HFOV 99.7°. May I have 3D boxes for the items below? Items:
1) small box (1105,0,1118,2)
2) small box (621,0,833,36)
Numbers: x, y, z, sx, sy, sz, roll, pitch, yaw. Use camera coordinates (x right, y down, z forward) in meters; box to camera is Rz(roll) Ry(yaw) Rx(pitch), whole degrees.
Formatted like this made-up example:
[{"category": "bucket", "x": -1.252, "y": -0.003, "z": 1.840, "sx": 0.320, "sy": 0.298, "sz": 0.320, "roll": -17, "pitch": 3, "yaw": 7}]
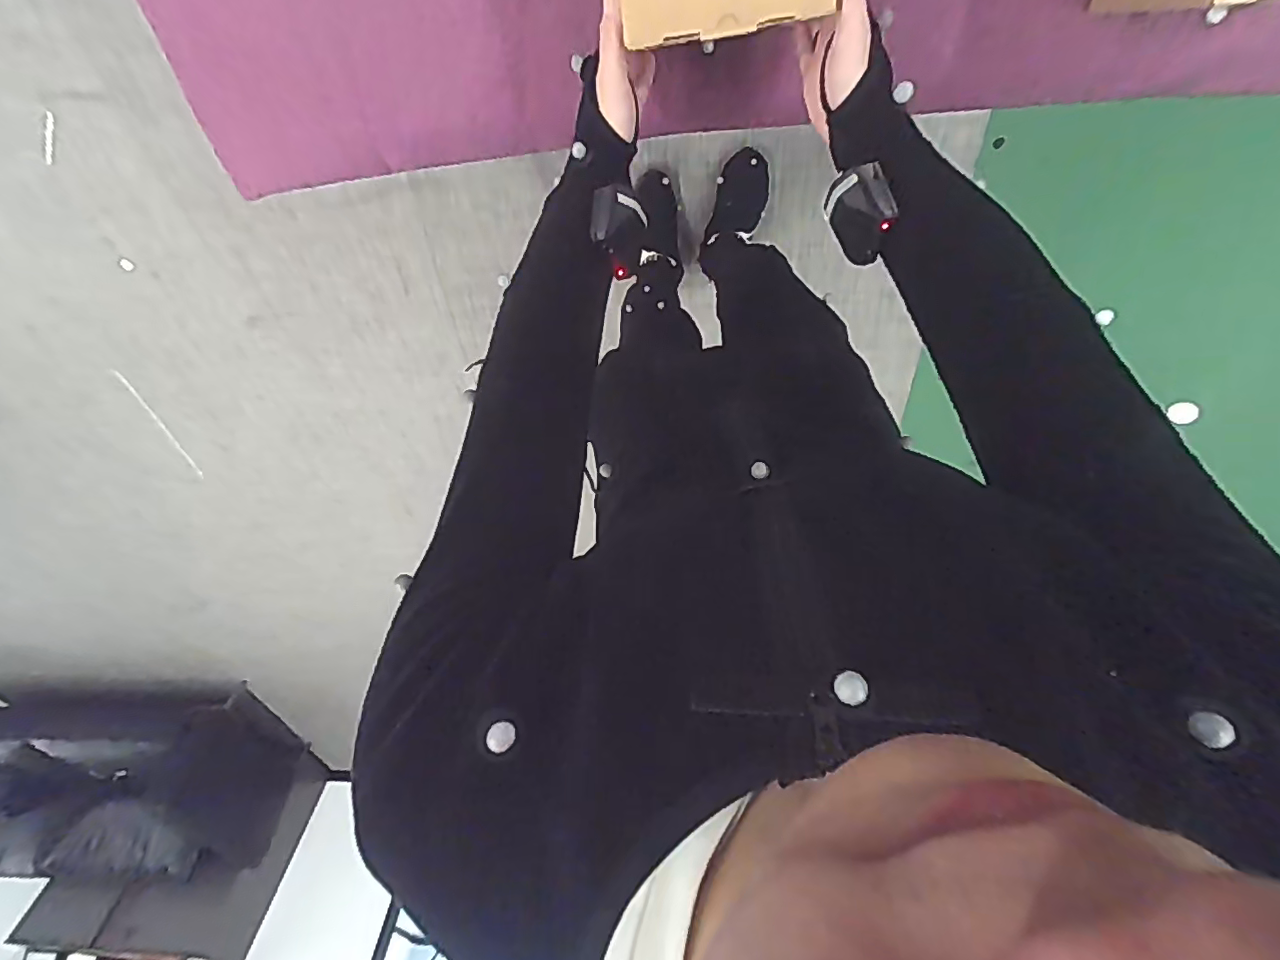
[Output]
[{"category": "small box", "x": 0.491, "y": -0.471, "z": 0.390, "sx": 0.168, "sy": 0.176, "sz": 0.179, "roll": 0, "pitch": 130, "yaw": 8}, {"category": "small box", "x": 0.062, "y": -0.476, "z": 0.430, "sx": 0.168, "sy": 0.176, "sz": 0.179, "roll": -4, "pitch": 130, "yaw": 8}]
